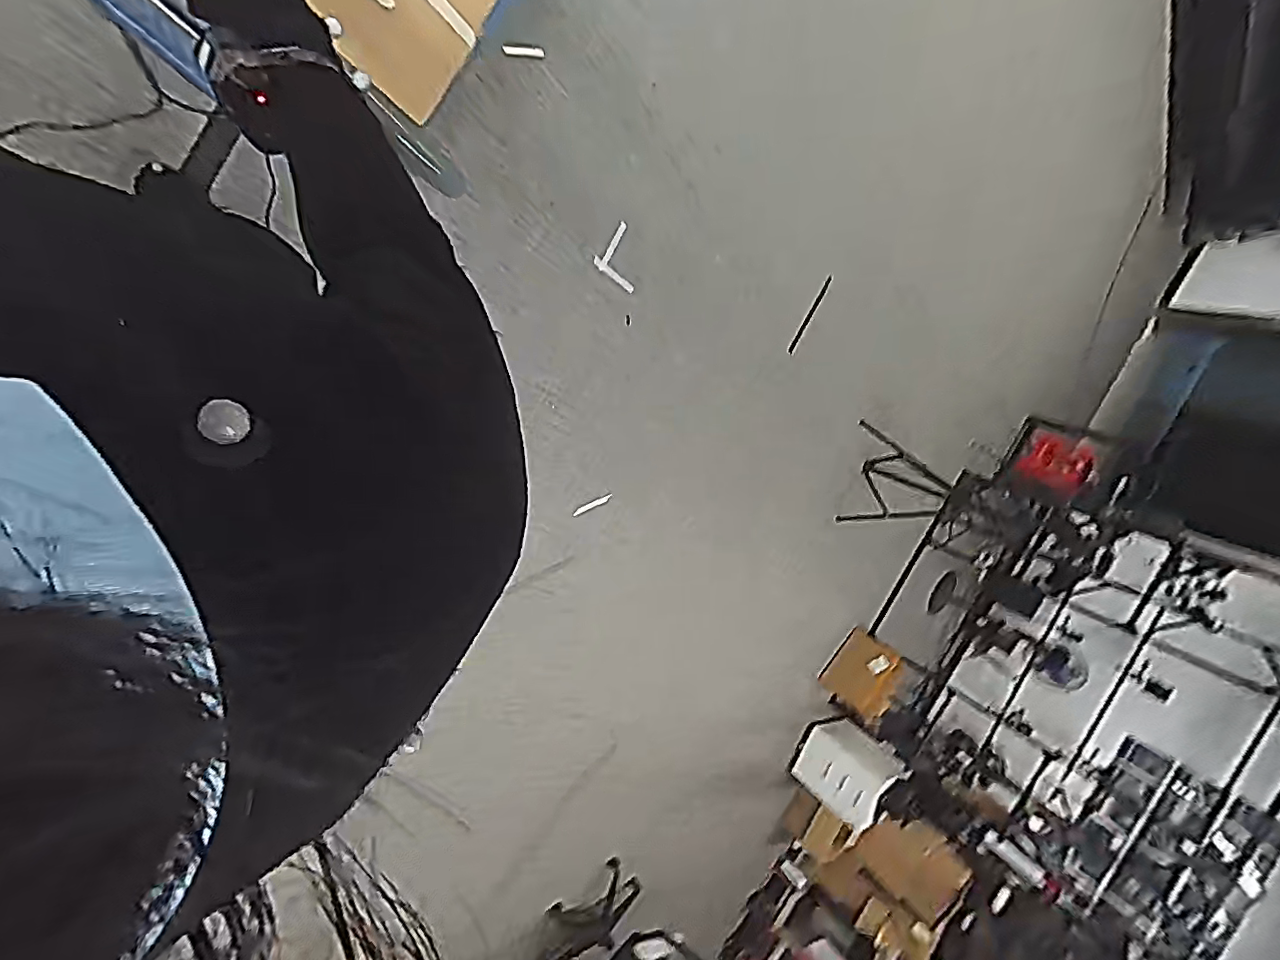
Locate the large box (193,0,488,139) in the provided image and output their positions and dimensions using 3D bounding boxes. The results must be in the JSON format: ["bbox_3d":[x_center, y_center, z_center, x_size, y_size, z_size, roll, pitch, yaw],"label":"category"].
[{"bbox_3d":[-0.495,-0.816,0.823,0.408,0.320,0.320,30,91,-45],"label":"large box"}]
